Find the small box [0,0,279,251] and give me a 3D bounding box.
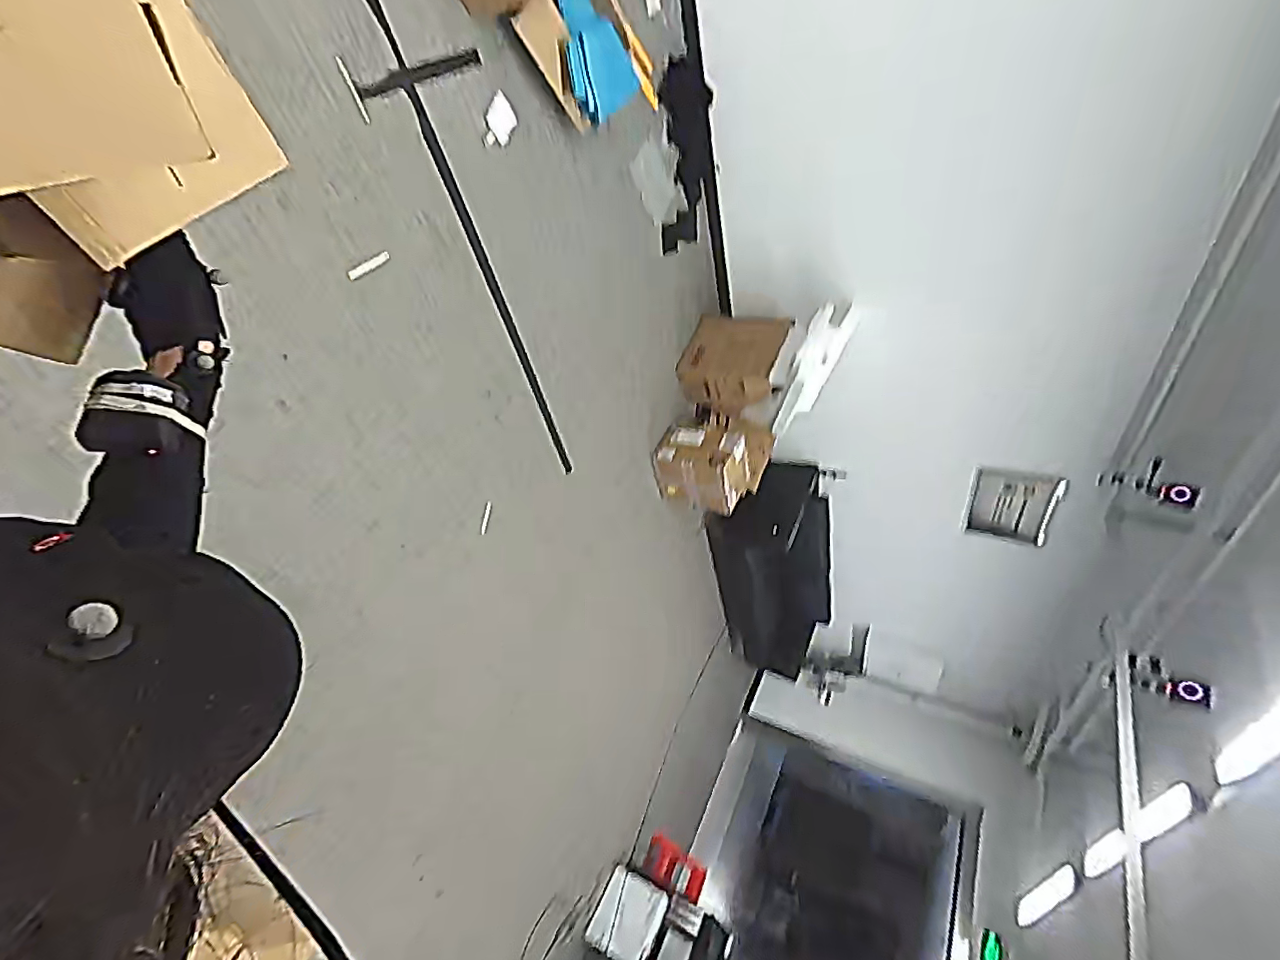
[{"bbox_3d":[-0.414,-0.281,0.368,0.168,0.176,0.179,-58,151,-30],"label":"small box"}]
